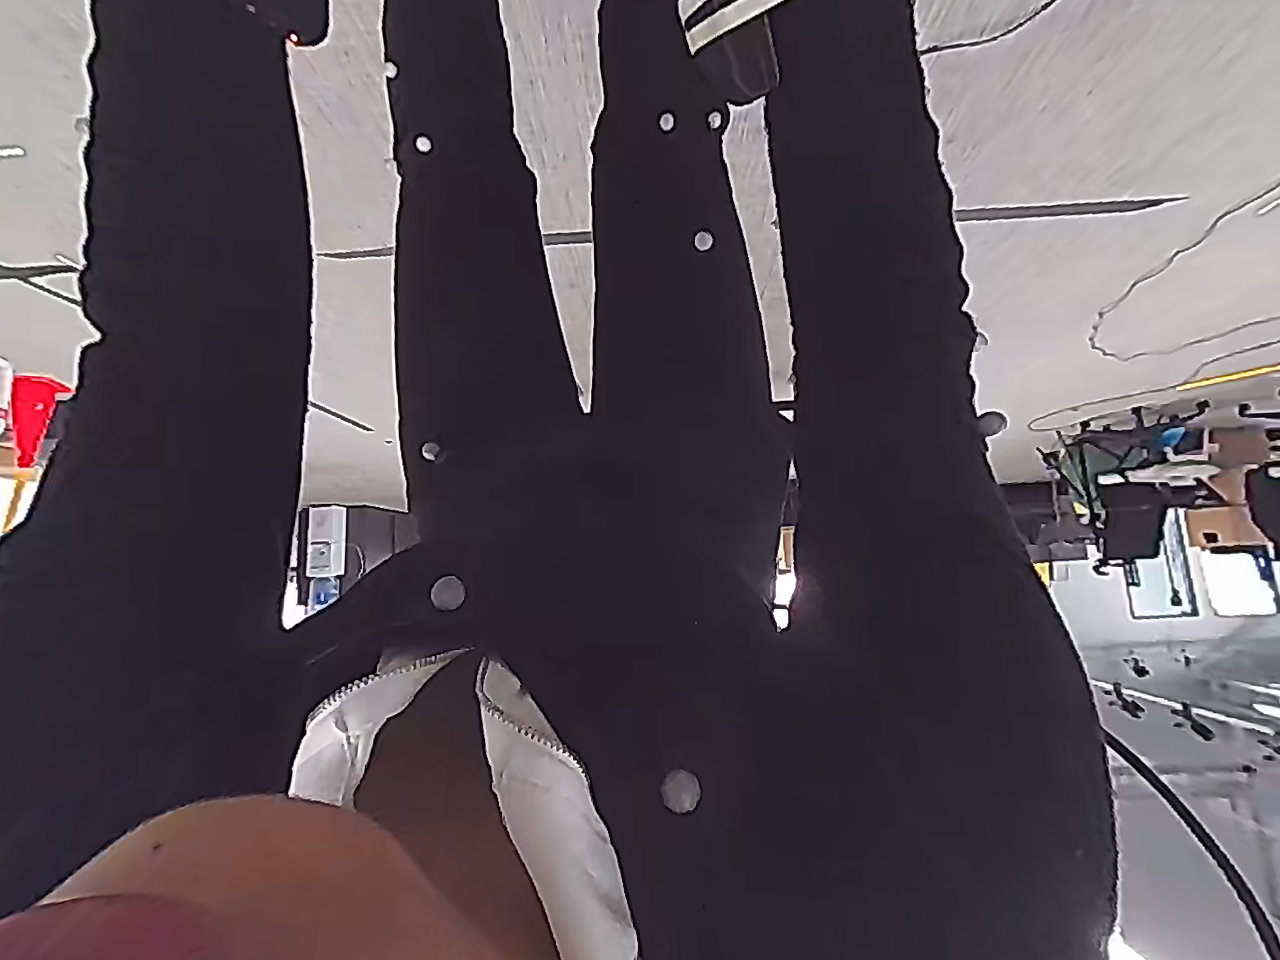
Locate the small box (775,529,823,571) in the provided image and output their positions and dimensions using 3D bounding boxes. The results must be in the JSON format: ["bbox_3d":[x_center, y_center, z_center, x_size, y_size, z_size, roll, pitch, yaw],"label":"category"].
[{"bbox_3d":[0.672,0.299,2.308,0.168,0.176,0.179,-2,172,6],"label":"small box"}]
